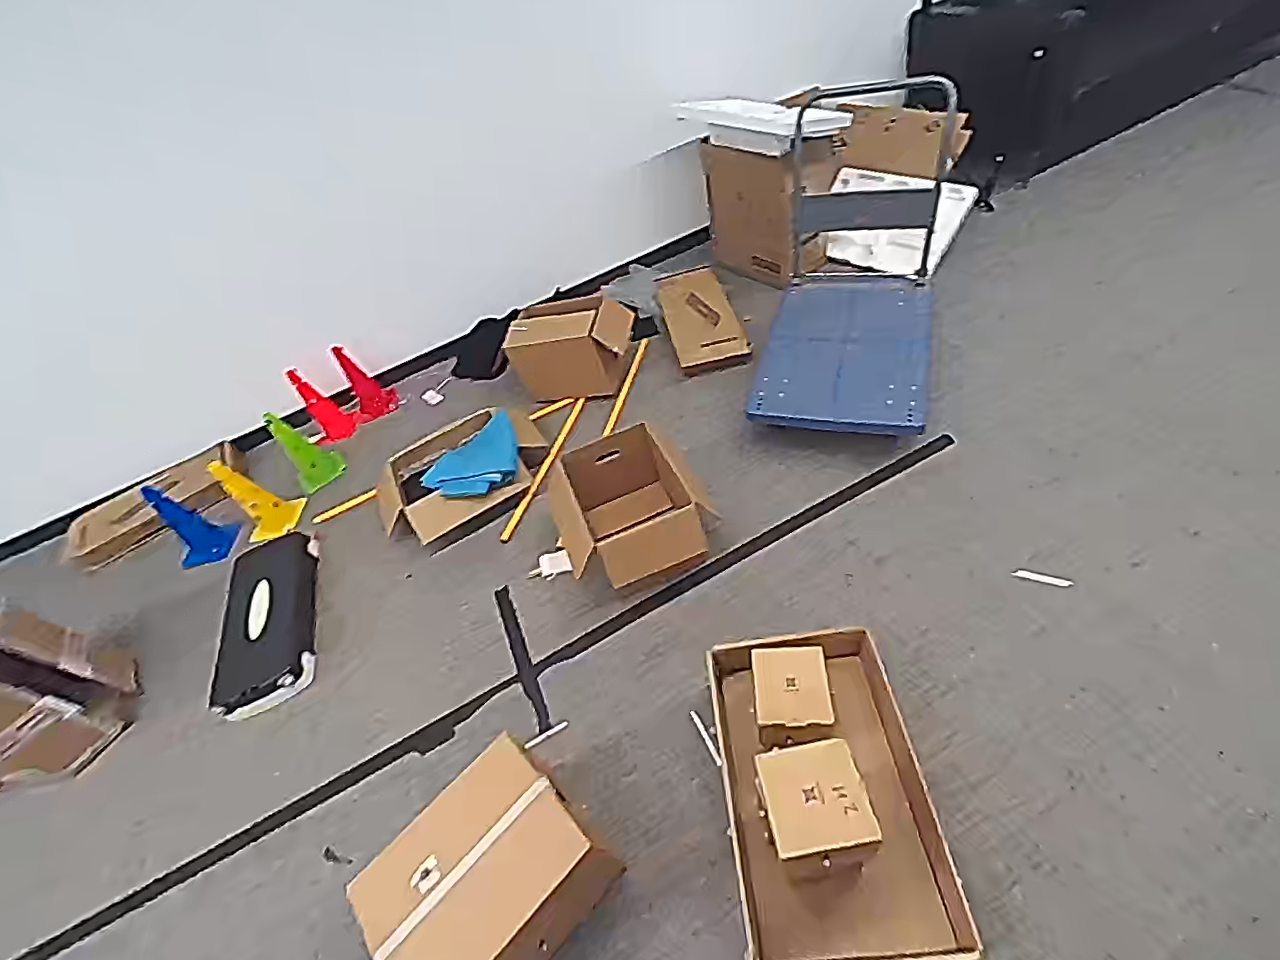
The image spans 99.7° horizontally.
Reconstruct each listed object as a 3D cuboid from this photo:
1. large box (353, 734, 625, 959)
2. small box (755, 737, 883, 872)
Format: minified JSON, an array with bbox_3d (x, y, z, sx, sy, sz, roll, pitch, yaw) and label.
[{"bbox_3d":[-0.298,0.847,1.159,0.408,0.320,0.320,-42,51,-20],"label":"large box"},{"bbox_3d":[0.323,0.602,0.998,0.179,0.176,0.168,-13,45,4],"label":"small box"}]
